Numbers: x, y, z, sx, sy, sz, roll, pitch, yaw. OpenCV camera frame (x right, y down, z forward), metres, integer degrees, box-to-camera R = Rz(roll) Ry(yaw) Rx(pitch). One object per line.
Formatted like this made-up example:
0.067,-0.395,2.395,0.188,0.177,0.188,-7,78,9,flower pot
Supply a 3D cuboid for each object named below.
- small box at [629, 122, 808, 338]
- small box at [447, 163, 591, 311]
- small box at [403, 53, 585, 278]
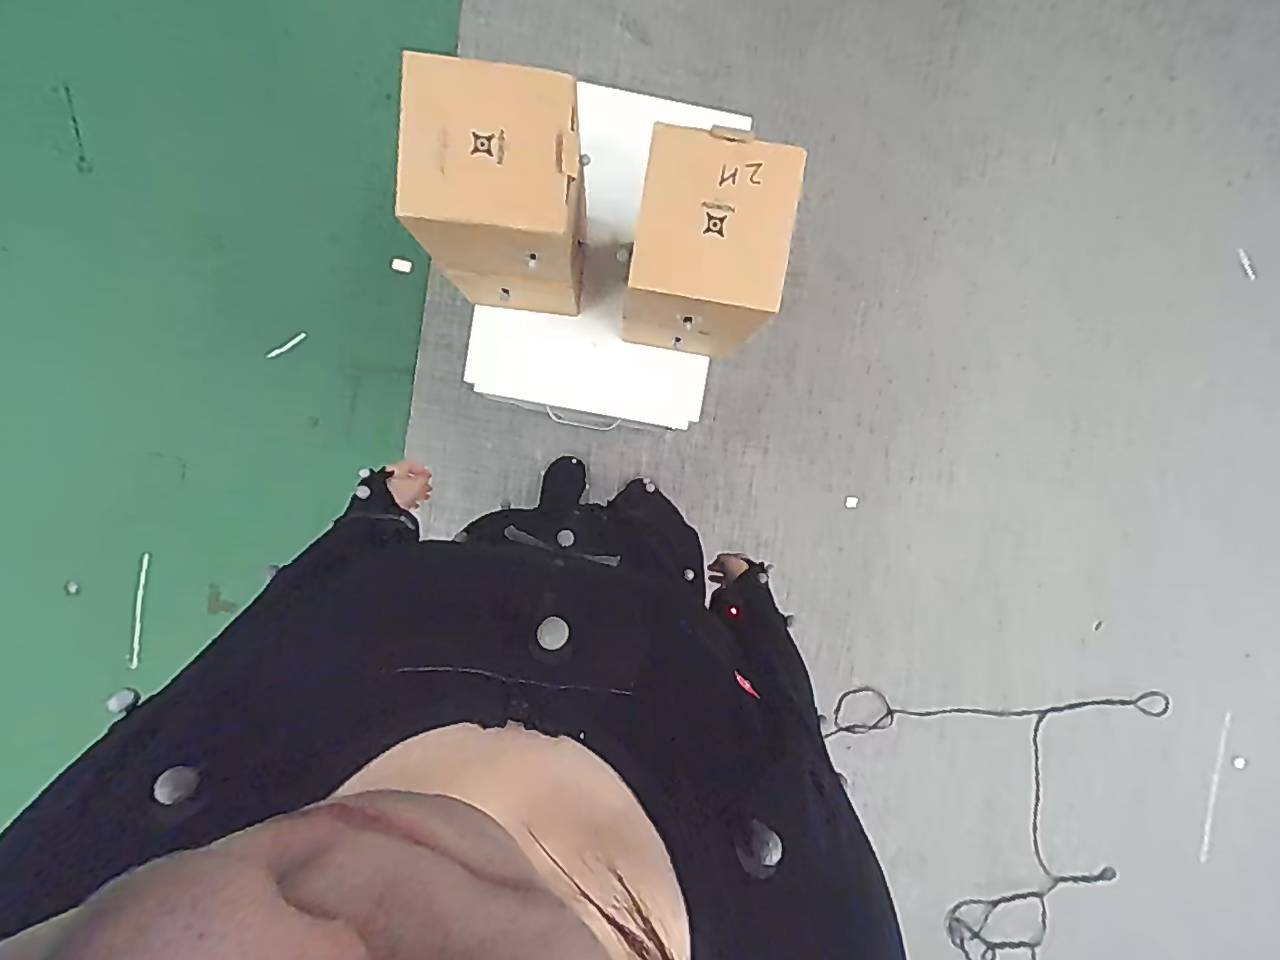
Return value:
0.082,-0.282,0.652,0.168,0.176,0.179,9,93,-3,small box
-0.169,-0.357,0.800,0.179,0.176,0.168,5,94,-5,small box
-0.158,-0.349,0.636,0.179,0.176,0.168,4,93,-4,small box
